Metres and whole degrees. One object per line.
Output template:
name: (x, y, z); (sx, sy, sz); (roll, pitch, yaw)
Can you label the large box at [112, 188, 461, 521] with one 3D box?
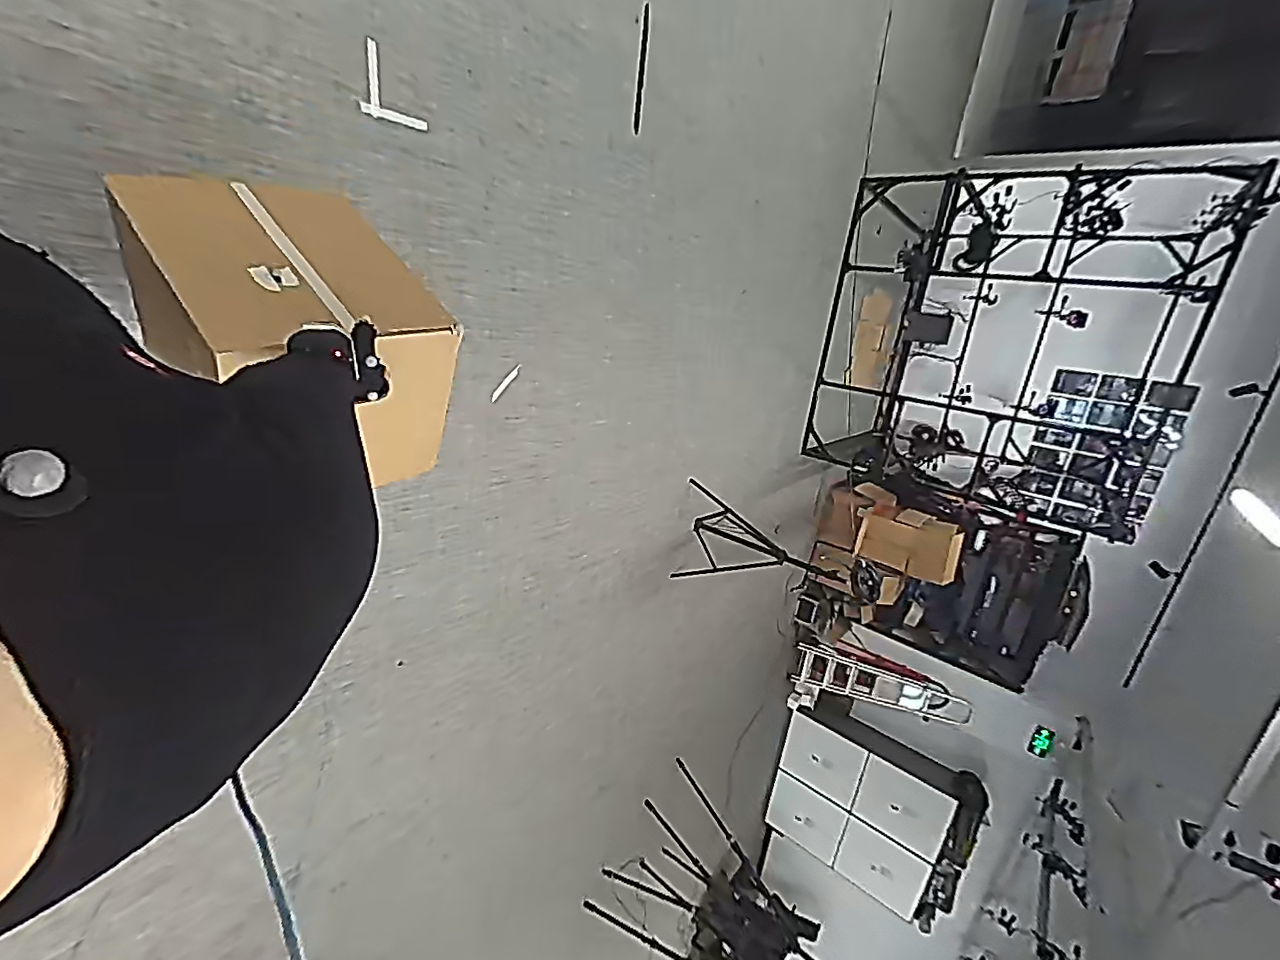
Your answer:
large box: (-0.563, -0.211, 0.885); (0.320, 0.408, 0.320); (-24, 154, -44)
